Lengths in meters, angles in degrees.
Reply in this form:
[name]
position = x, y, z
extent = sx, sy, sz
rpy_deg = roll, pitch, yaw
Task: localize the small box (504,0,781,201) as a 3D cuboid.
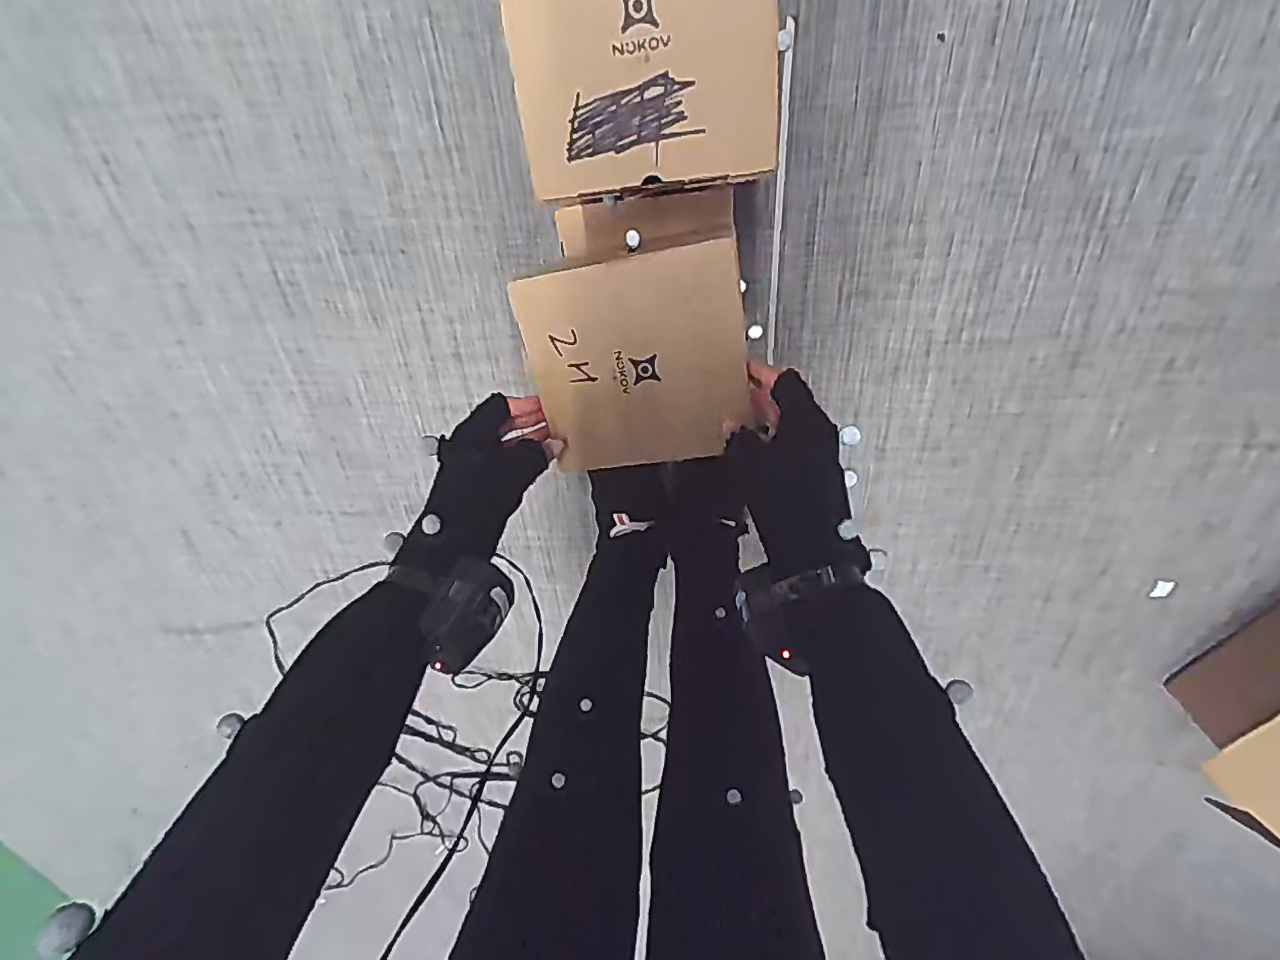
[small box]
position = 0.010, -0.312, 0.391
extent = 0.168, 0.176, 0.179
rpy_deg = -3, 119, 8
